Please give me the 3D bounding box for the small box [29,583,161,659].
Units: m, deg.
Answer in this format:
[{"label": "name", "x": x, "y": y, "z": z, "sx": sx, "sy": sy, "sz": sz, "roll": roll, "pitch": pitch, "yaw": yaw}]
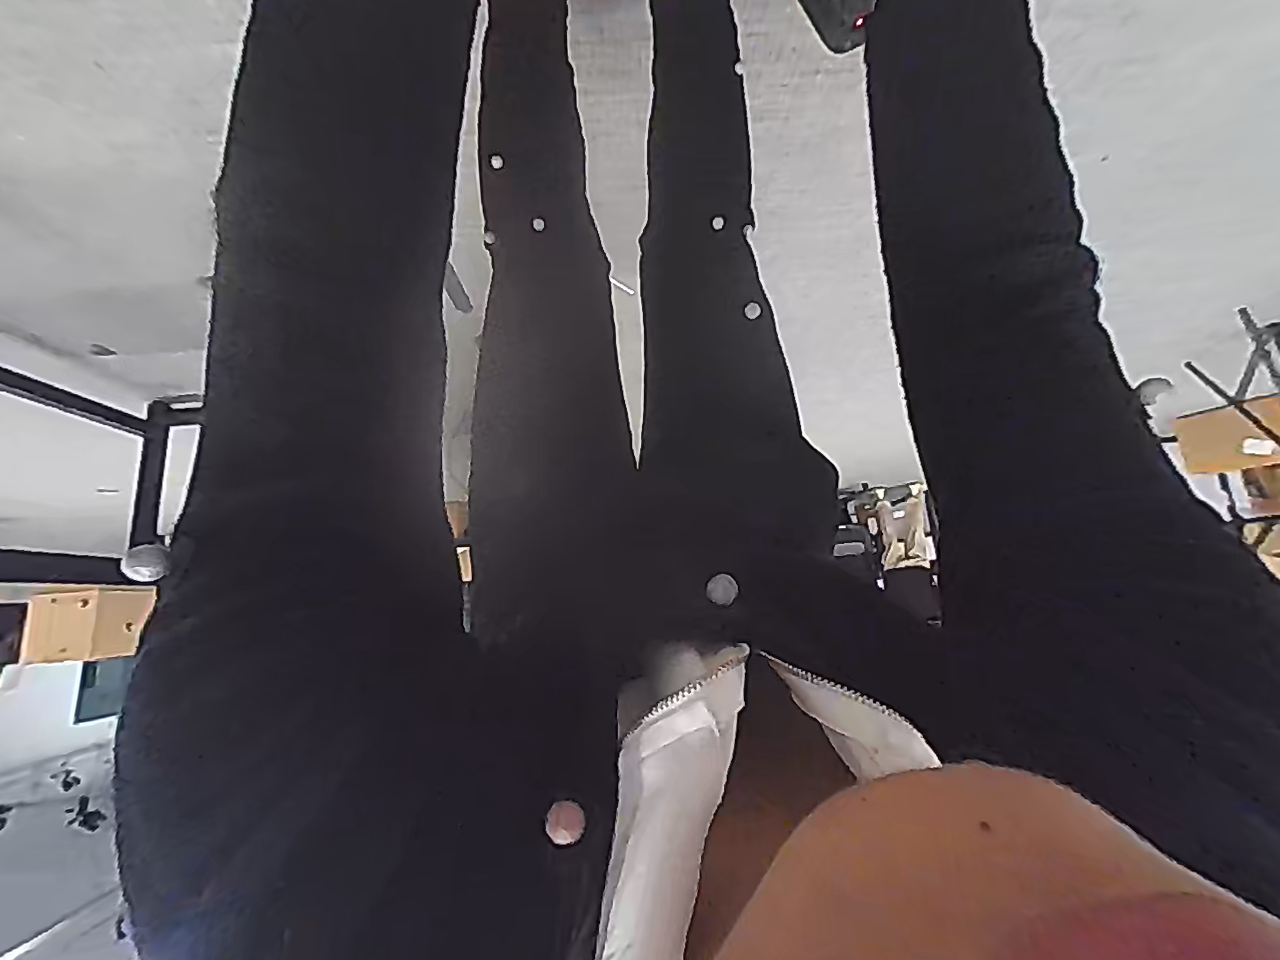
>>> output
[{"label": "small box", "x": -1.392, "y": 0.357, "z": 1.393, "sx": 0.168, "sy": 0.176, "sz": 0.179, "roll": -3, "pitch": 169, "yaw": -2}]
